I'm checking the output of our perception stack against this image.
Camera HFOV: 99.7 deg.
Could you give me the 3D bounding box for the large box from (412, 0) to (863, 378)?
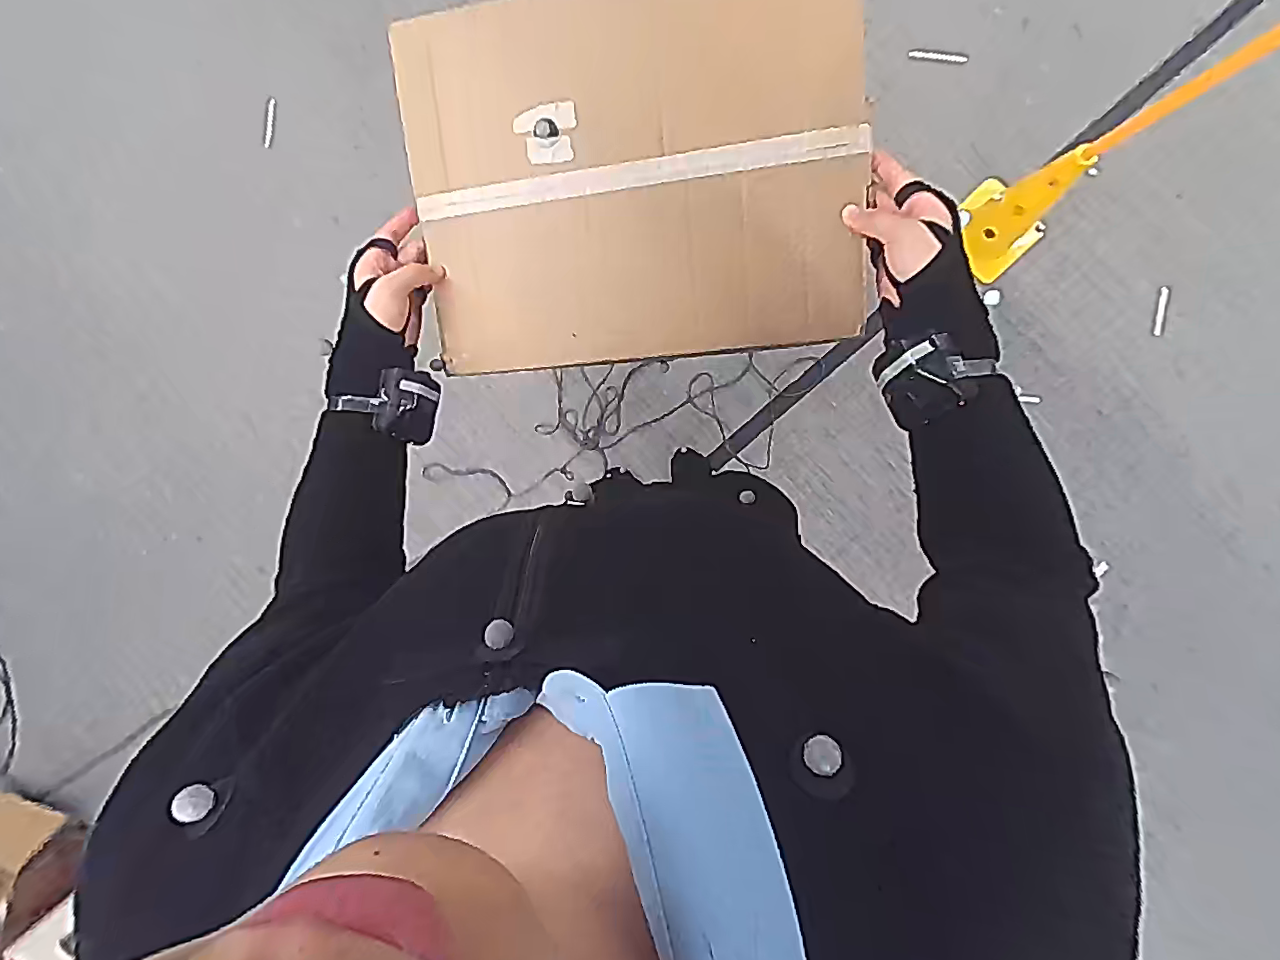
[{"bbox_3d":[0.020,-0.300,0.641,0.408,0.320,0.320,-3,101,11],"label":"large box"}]
